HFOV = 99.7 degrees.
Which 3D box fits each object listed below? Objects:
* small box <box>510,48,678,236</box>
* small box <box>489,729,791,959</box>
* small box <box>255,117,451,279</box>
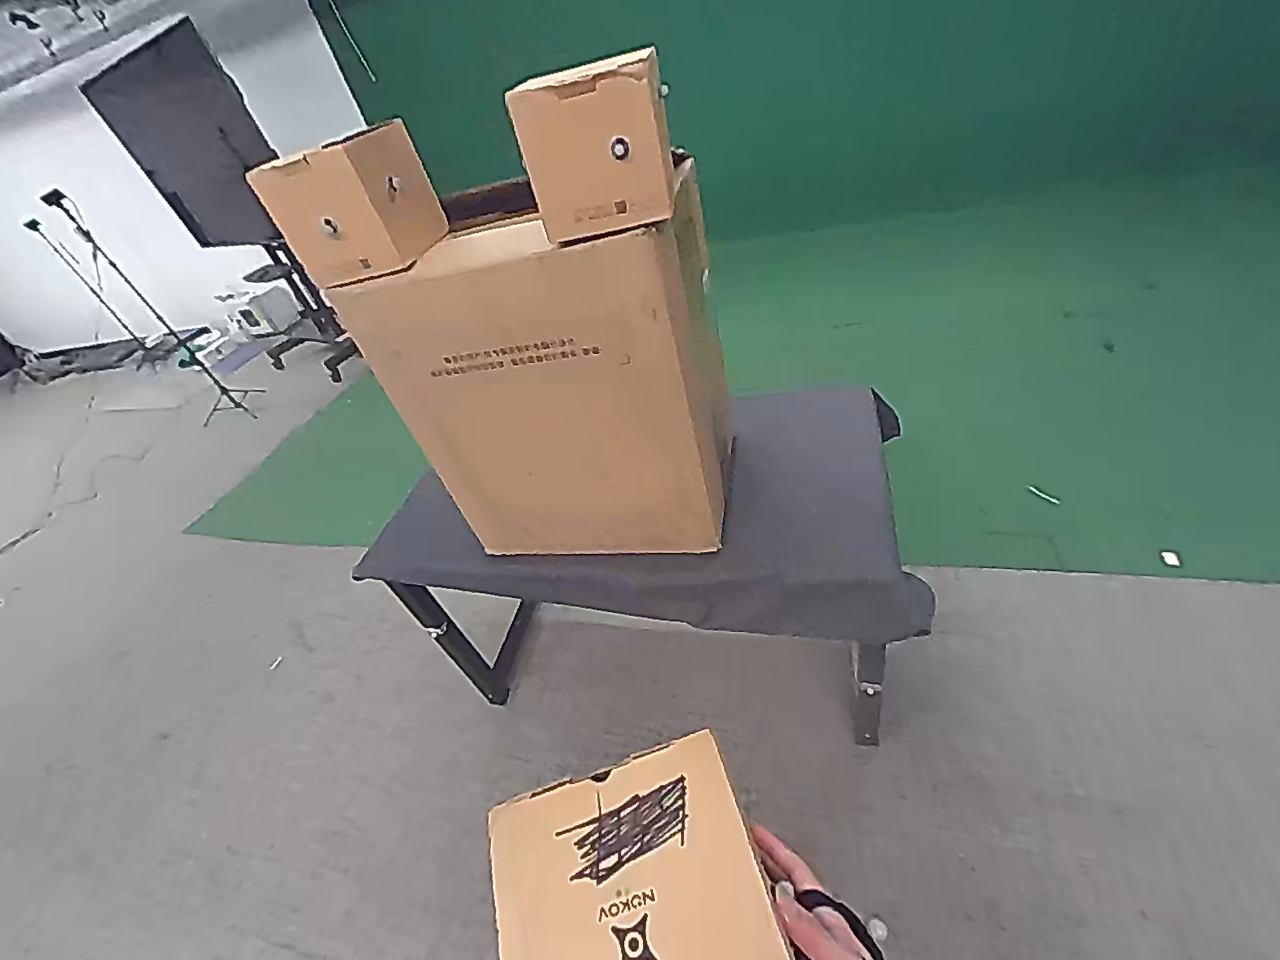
[{"bbox_3d":[-0.045,-0.433,0.705,0.168,0.176,0.179,-5,40,11],"label":"small box"},{"bbox_3d":[0.009,0.309,0.381,0.168,0.176,0.179,-20,50,0],"label":"small box"},{"bbox_3d":[-0.421,-0.424,0.832,0.168,0.176,0.179,-5,42,16],"label":"small box"}]
